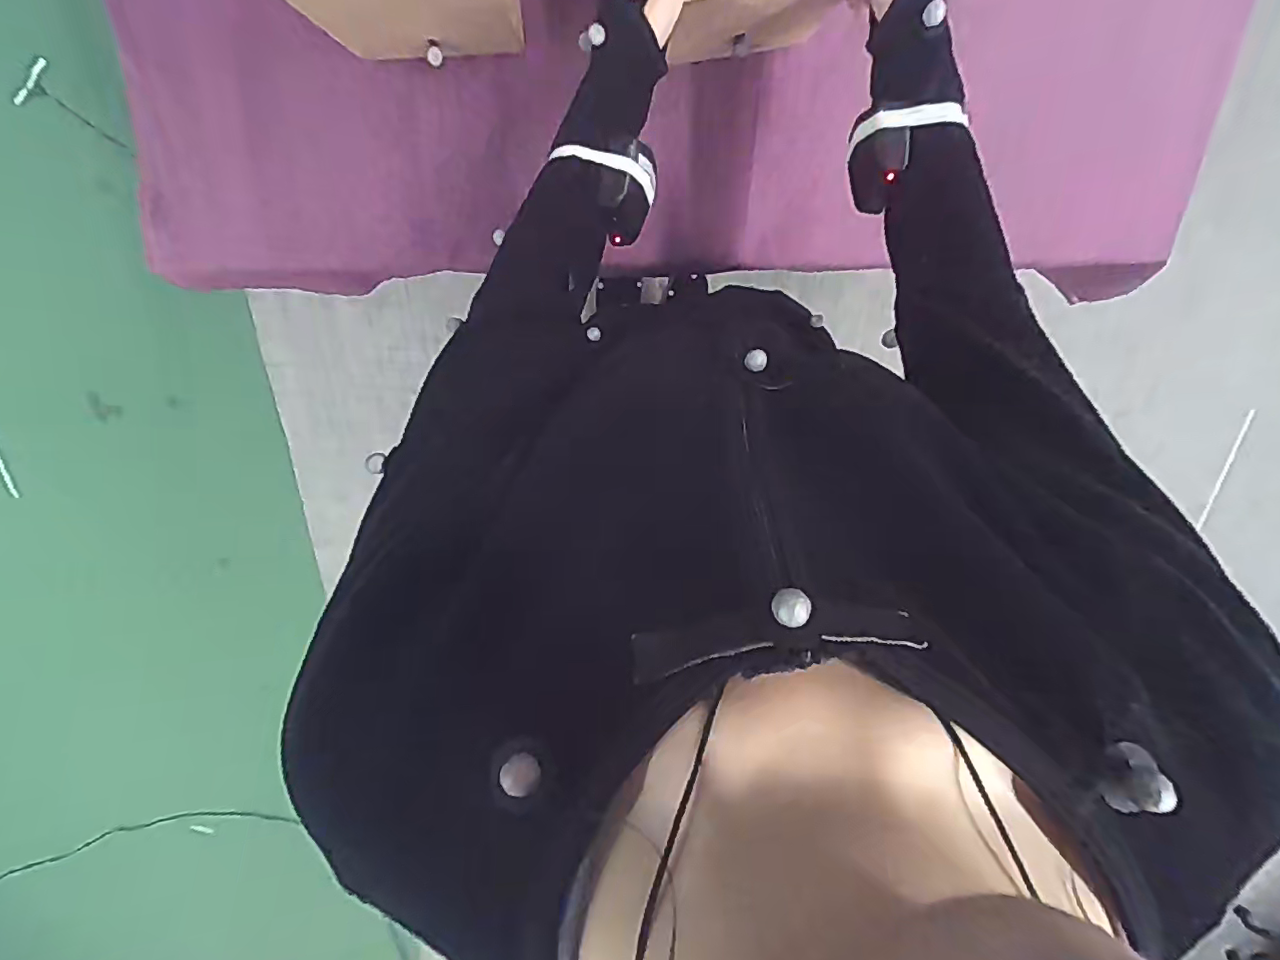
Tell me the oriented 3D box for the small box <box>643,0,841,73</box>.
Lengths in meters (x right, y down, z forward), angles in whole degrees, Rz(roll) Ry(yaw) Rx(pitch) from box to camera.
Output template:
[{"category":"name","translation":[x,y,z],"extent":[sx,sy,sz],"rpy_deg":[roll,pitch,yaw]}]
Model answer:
[{"category":"small box","translation":[0.083,-0.507,0.488],"extent":[0.168,0.176,0.179],"rpy_deg":[-7,113,1]}]

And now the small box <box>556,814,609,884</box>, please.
[{"category":"small box","translation":[-0.206,1.361,1.990],"extent":[0.179,0.176,0.168],"rpy_deg":[-5,111,1]}]

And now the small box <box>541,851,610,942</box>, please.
[{"category":"small box","translation":[-0.212,1.407,1.833],"extent":[0.179,0.176,0.168],"rpy_deg":[-20,110,7]}]
